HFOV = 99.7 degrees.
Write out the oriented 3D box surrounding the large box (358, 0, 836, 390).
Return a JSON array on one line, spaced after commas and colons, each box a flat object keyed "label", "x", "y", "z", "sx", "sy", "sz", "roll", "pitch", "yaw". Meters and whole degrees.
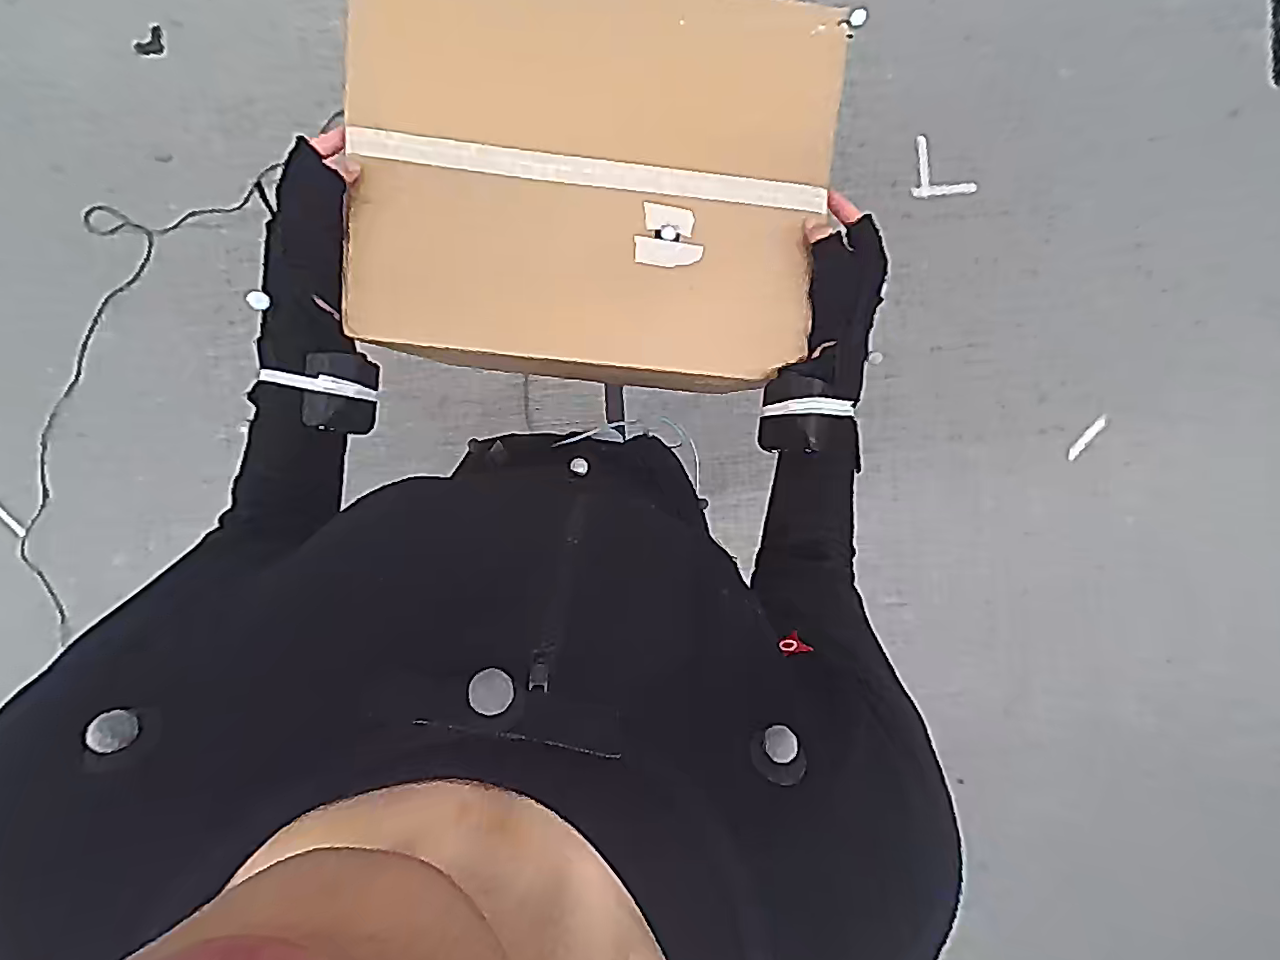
[{"label": "large box", "x": -0.051, "y": -0.277, "z": 0.616, "sx": 0.408, "sy": 0.320, "sz": 0.320, "roll": 5, "pitch": 98, "yaw": -6}]
